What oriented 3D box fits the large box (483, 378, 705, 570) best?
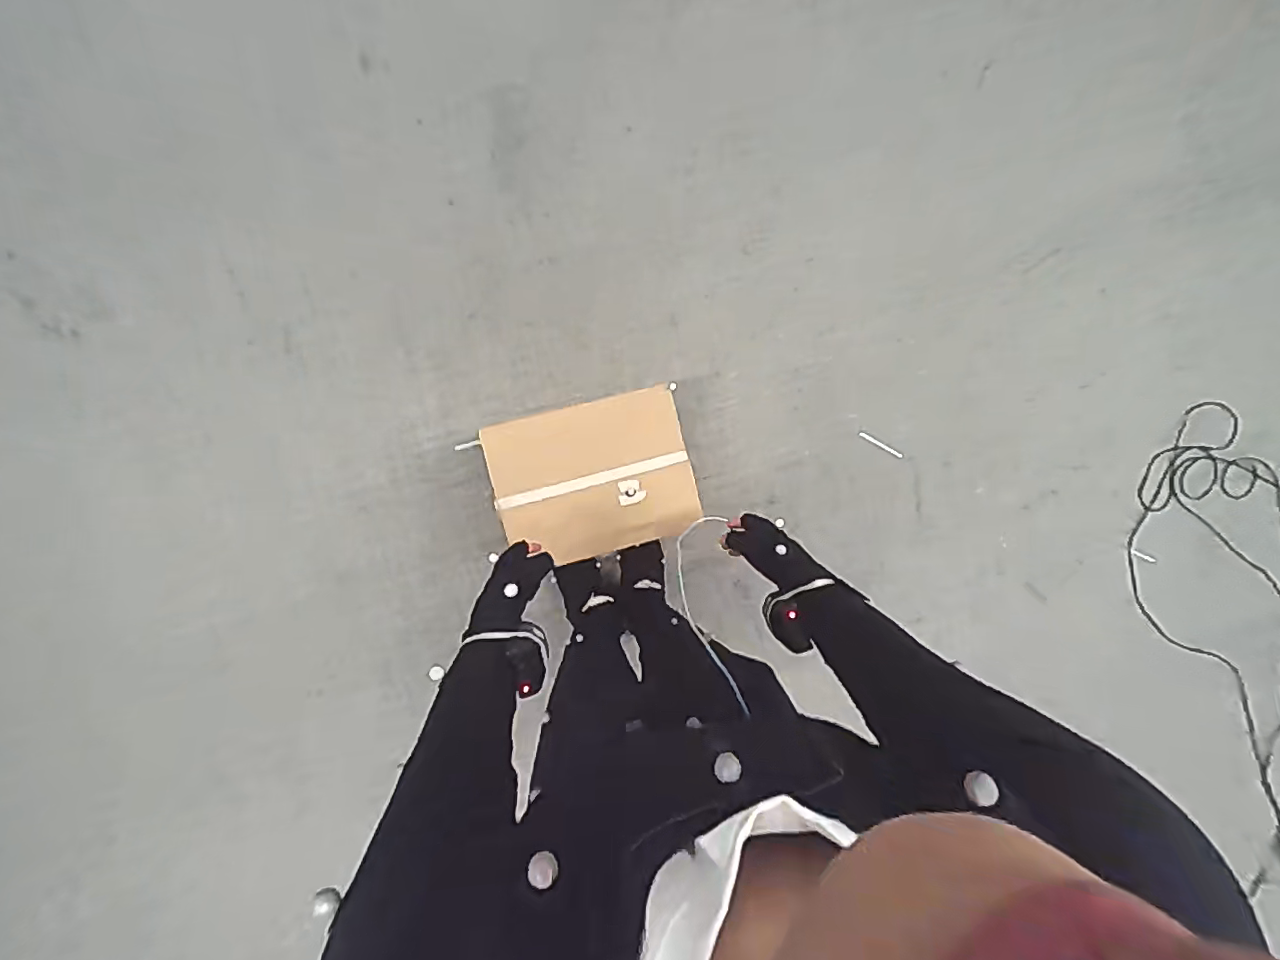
[{"bbox_3d":[-0.107,-0.016,1.261,0.408,0.320,0.320,-15,94,-6],"label":"large box"}]
